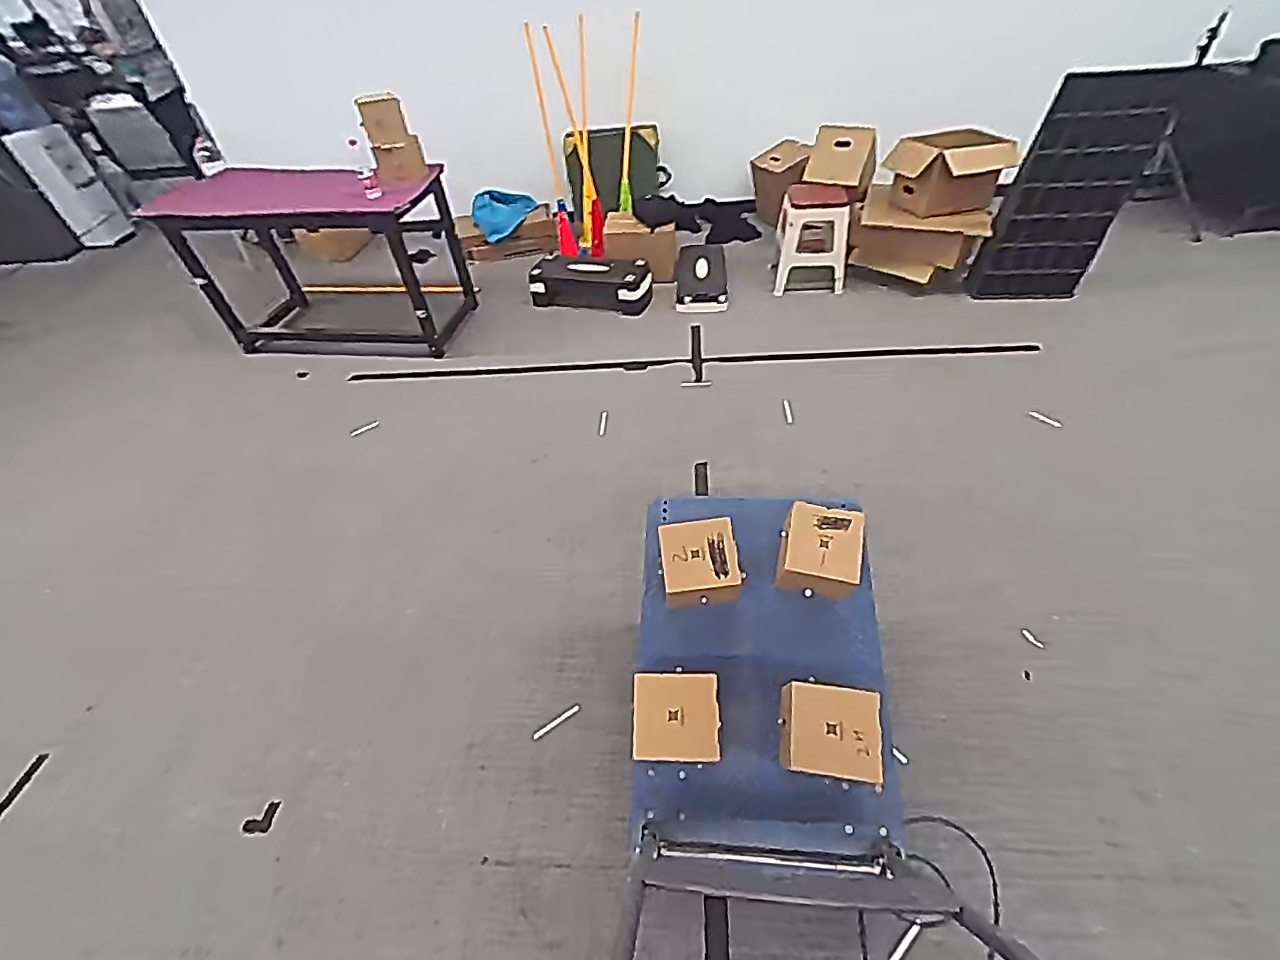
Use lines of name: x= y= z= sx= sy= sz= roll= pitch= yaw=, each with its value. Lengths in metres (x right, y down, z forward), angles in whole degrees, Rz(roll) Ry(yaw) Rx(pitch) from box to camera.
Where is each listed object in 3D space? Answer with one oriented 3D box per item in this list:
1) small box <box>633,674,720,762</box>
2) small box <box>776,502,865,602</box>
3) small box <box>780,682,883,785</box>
small box: x=0.080 y=0.521 z=1.178 sx=0.179 sy=0.176 sz=0.168 roll=-1 pitch=63 yaw=3
small box: x=0.433 y=0.178 z=1.313 sx=0.168 sy=0.176 sz=0.179 roll=11 pitch=66 yaw=11
small box: x=0.395 y=0.533 z=1.140 sx=0.179 sy=0.176 sz=0.168 roll=5 pitch=65 yaw=8
